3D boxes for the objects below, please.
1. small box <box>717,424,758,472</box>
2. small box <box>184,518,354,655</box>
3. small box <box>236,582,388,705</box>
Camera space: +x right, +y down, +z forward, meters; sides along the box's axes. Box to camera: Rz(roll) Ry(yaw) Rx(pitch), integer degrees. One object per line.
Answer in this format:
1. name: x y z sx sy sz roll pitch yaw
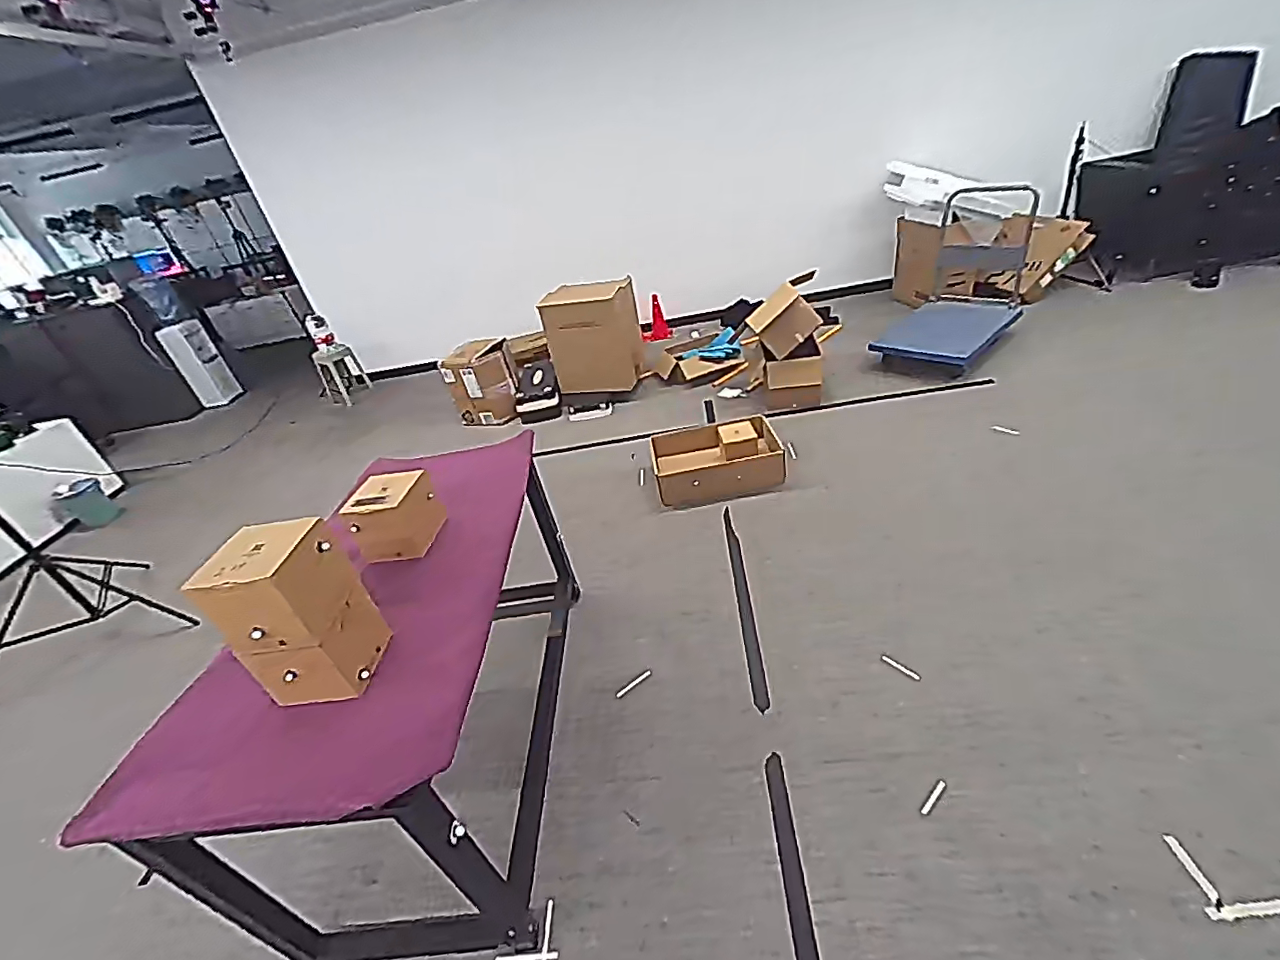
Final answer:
1. small box: 0.492 -0.161 2.725 0.168 0.176 0.179 -11 33 2
2. small box: -0.667 0.196 1.004 0.168 0.176 0.179 -9 32 5
3. small box: -0.647 0.332 1.096 0.179 0.176 0.168 -9 32 6
